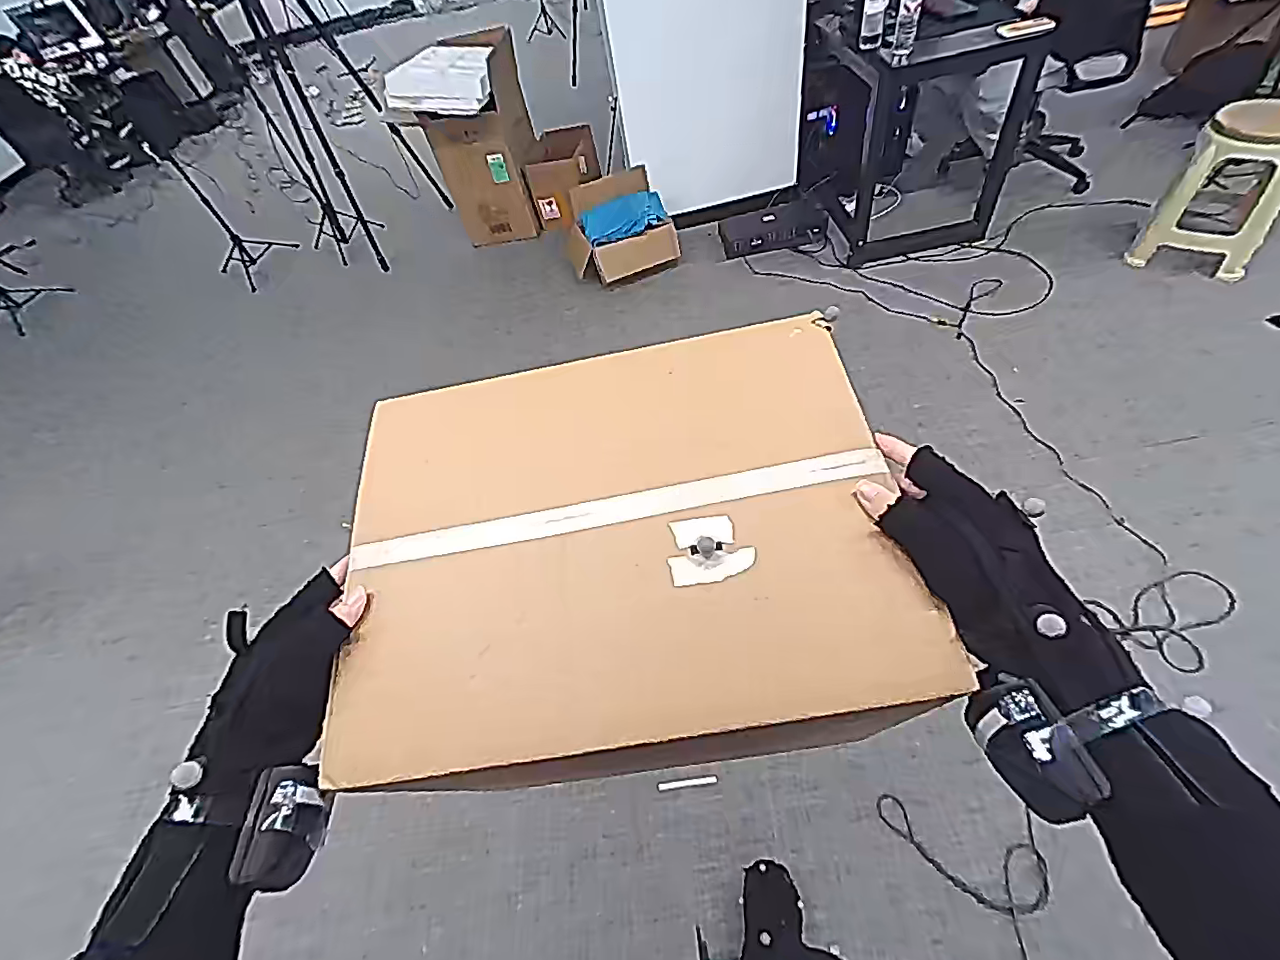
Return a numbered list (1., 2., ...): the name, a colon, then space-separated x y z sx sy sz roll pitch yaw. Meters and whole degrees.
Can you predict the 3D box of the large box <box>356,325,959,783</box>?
1. large box: 0.006 0.100 0.547 0.408 0.320 0.320 -10 60 3
